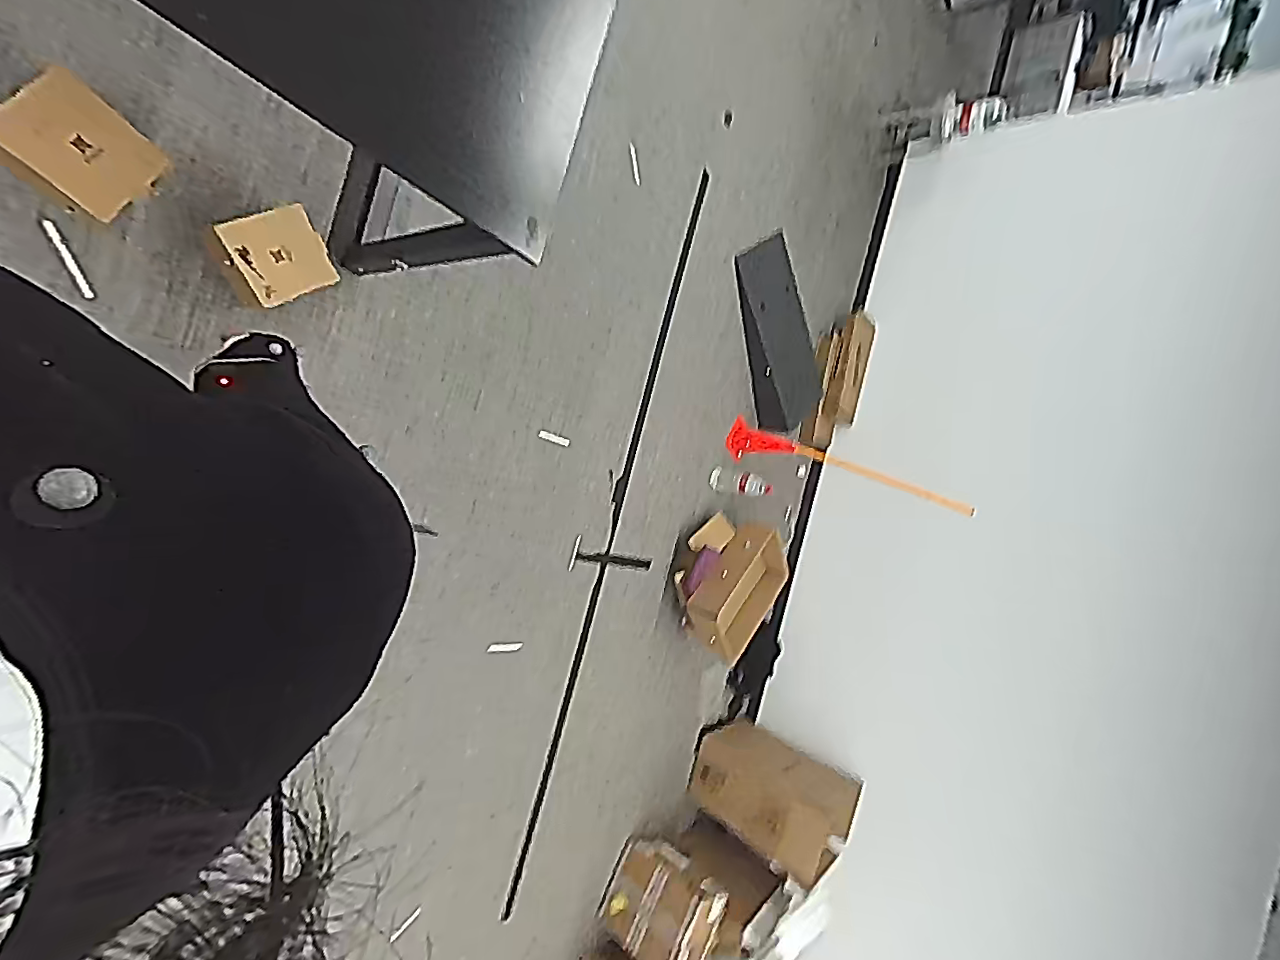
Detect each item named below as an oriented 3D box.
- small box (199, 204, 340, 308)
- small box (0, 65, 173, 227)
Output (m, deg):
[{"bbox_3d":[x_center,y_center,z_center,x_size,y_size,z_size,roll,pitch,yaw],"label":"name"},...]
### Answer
[{"bbox_3d":[-0.810,-0.489,1.184,0.179,0.176,0.168,-42,130,-34],"label":"small box"},{"bbox_3d":[-0.988,-0.572,0.952,0.179,0.176,0.168,48,63,-45],"label":"small box"}]
